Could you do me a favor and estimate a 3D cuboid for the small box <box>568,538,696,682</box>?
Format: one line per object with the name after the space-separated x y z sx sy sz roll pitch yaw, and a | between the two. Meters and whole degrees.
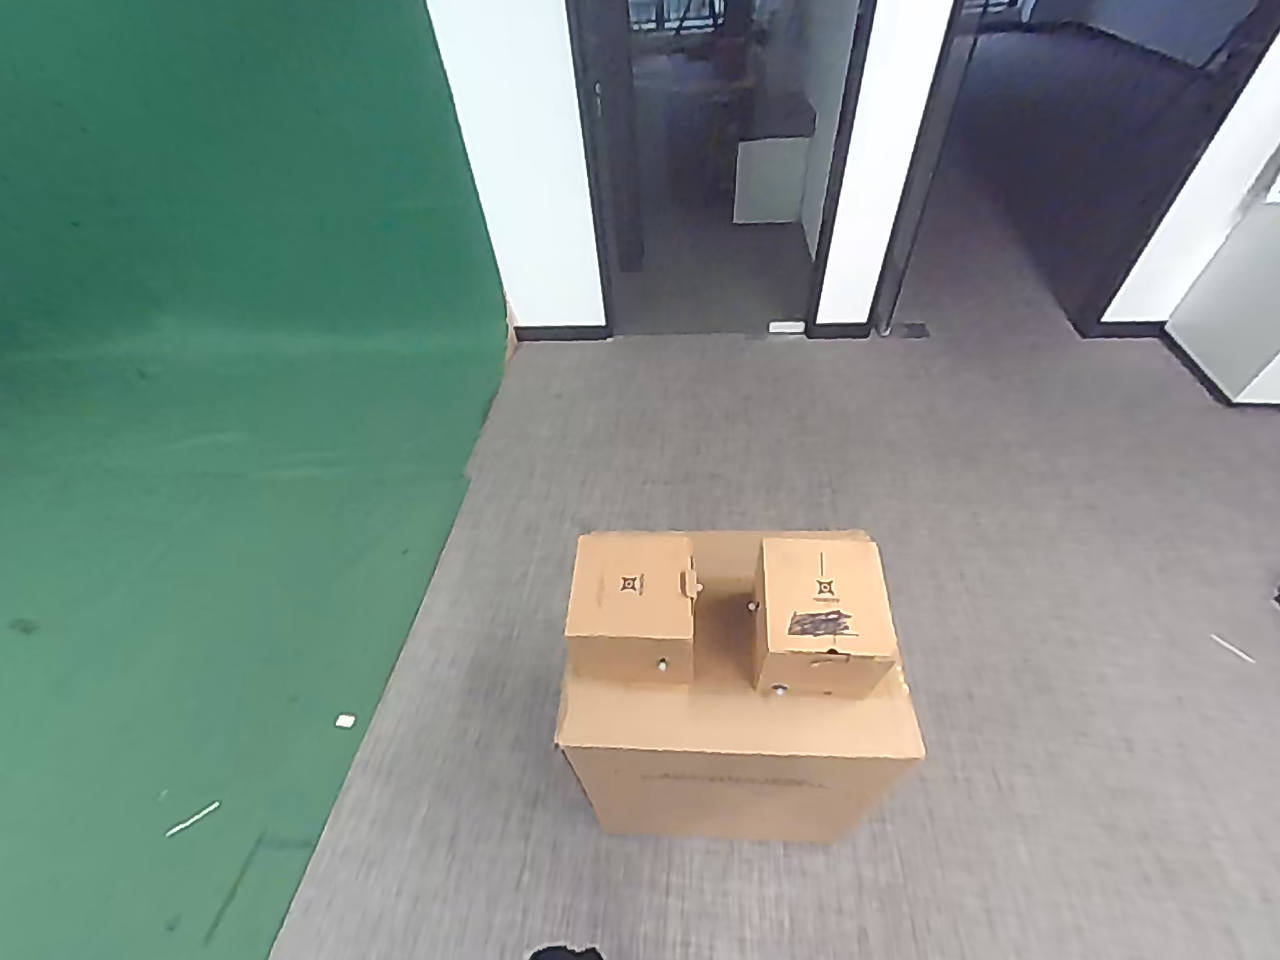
-0.002 0.204 0.842 0.179 0.176 0.168 -2 50 6 | small box

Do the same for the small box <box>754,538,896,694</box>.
0.262 0.206 0.808 0.168 0.176 0.179 2 51 7 | small box
